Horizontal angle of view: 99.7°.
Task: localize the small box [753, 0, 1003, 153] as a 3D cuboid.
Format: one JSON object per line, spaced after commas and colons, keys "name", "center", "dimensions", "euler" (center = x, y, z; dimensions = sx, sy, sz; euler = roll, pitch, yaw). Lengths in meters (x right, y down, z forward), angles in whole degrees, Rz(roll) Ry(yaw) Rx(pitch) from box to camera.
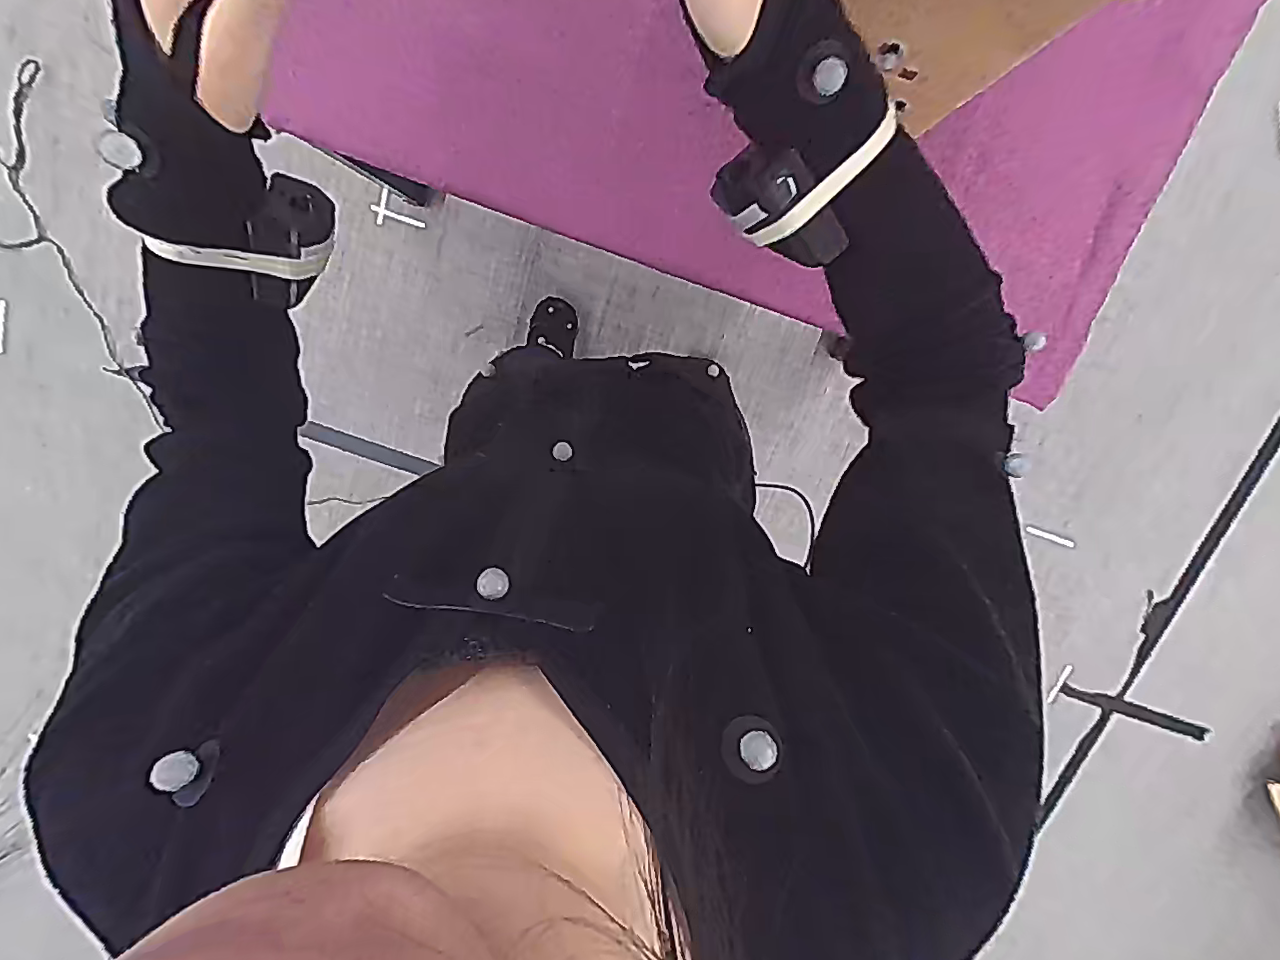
{"name": "small box", "center": [0.235, -0.461, 0.545], "dimensions": [0.179, 0.176, 0.168], "euler": [17, 103, -4]}
